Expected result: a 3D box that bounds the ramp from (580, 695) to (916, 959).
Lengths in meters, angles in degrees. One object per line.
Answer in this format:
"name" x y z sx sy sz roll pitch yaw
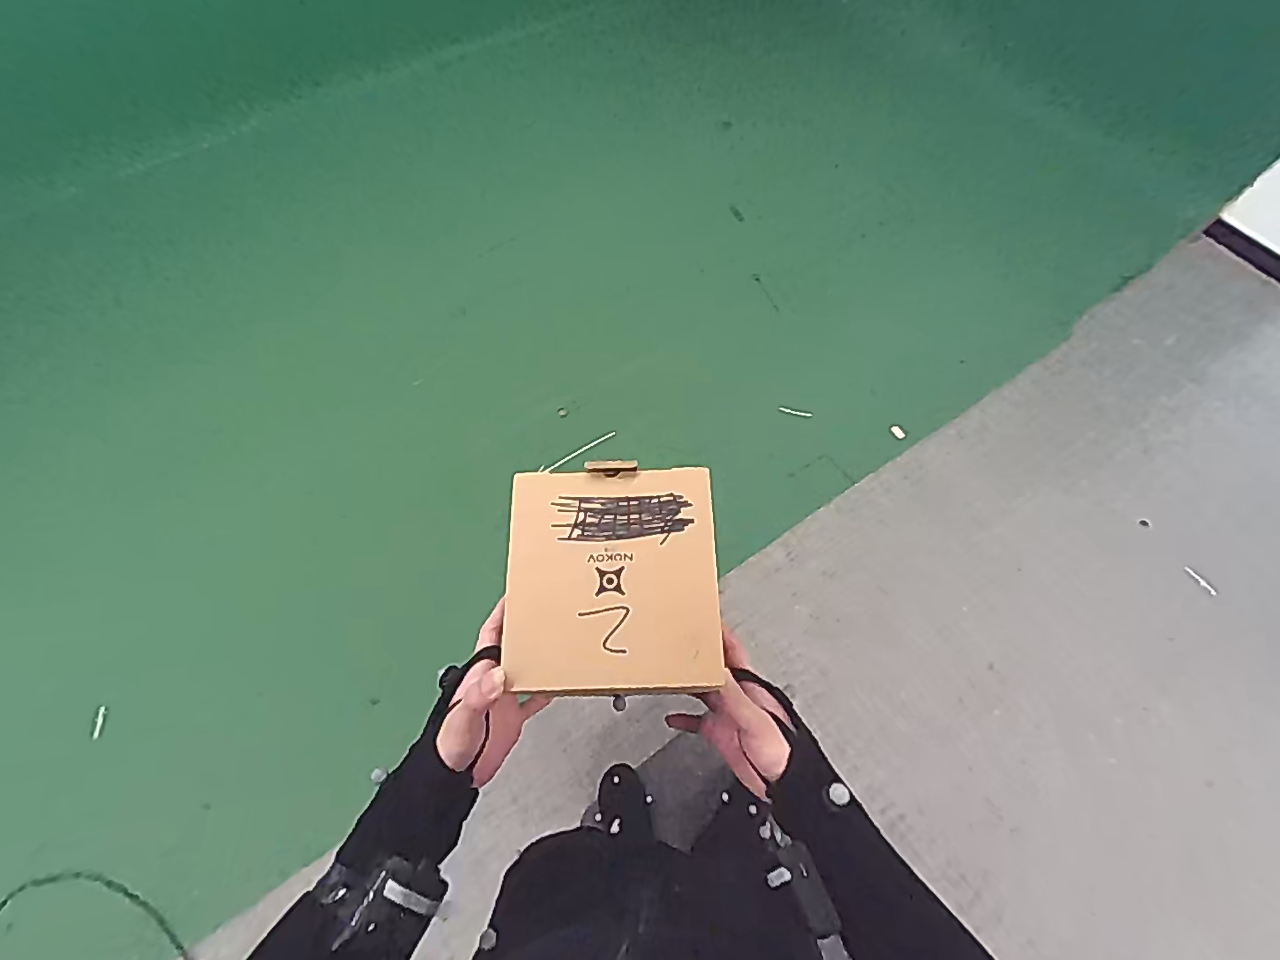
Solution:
"ramp" 0.329 1.090 1.300 0.509 0.206 0.991 -34 71 -15
